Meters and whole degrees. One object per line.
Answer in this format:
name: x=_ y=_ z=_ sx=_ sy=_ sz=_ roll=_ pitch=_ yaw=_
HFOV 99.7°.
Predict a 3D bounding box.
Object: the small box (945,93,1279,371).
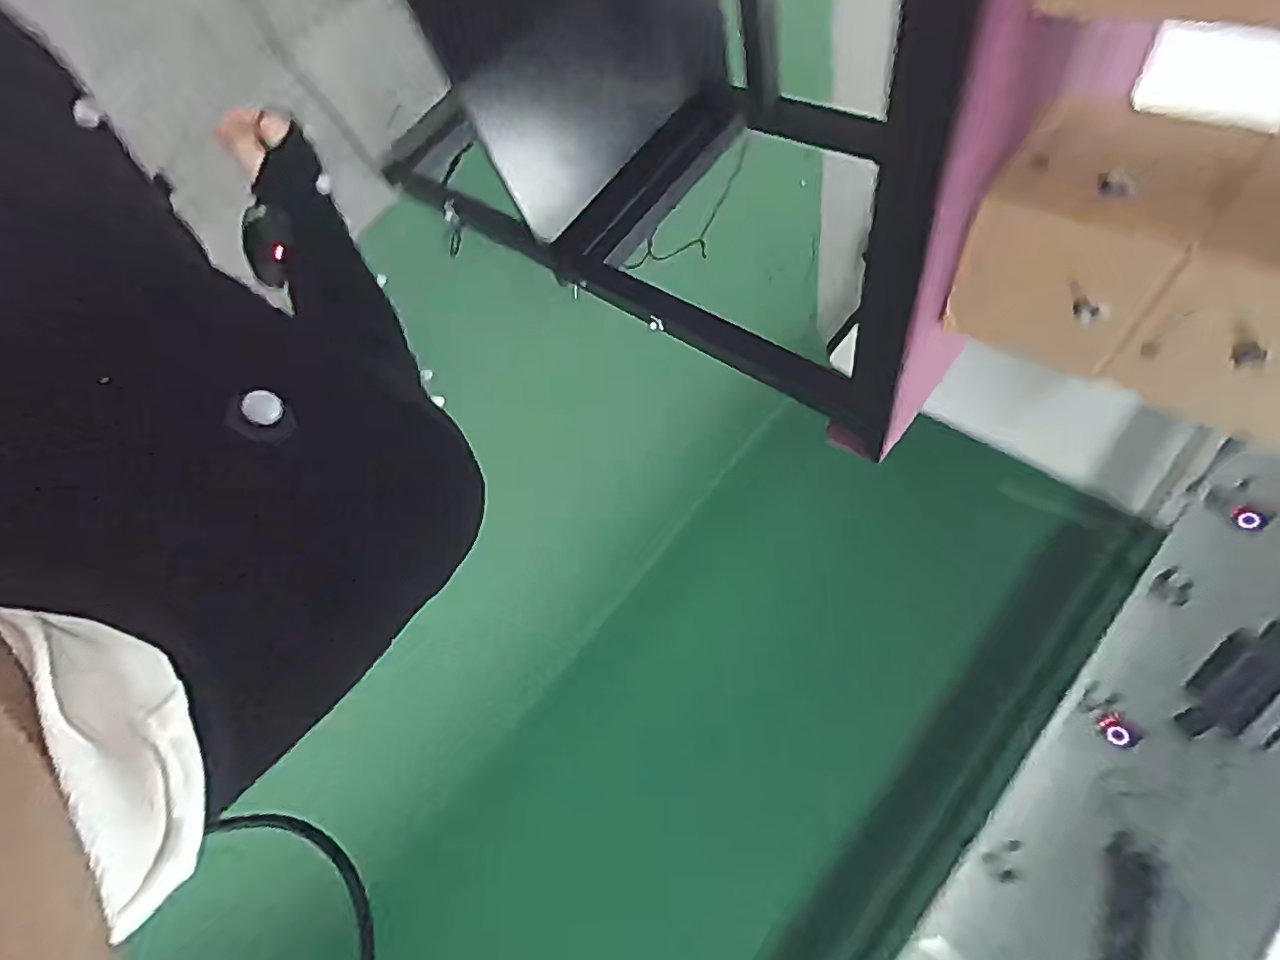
small box: x=0.436 y=-0.247 z=0.536 sx=0.168 sy=0.176 sz=0.179 roll=-48 pitch=151 yaw=-12
